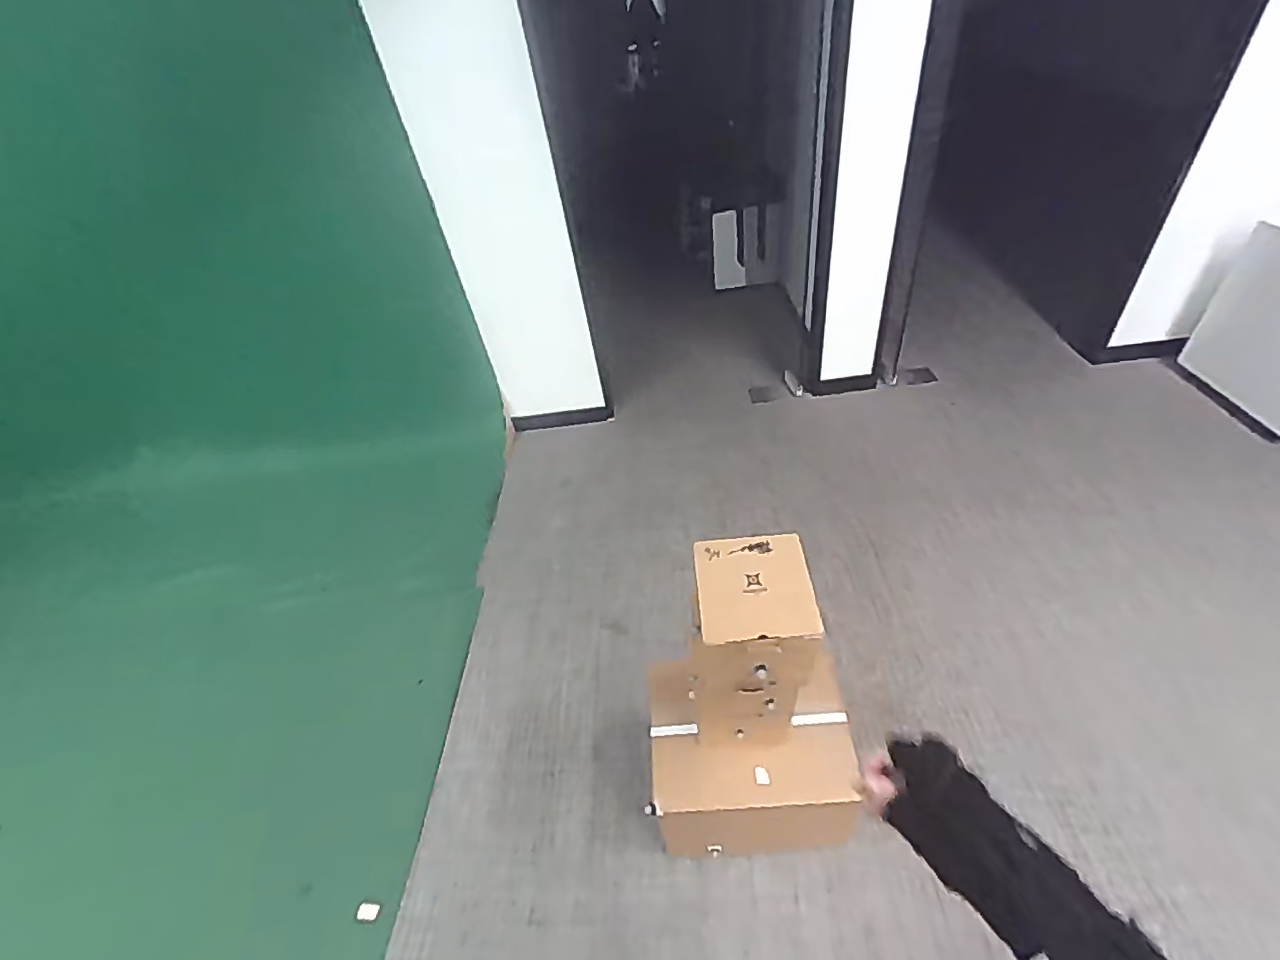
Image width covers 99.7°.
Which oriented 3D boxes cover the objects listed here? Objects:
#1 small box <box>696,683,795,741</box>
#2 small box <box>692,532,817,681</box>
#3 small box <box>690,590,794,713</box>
[{"bbox_3d":[0.205,0.419,1.103,0.179,0.176,0.168,-7,48,4],"label":"small box"},{"bbox_3d":[0.174,0.207,0.858,0.168,0.176,0.179,-6,48,5],"label":"small box"},{"bbox_3d":[0.182,0.311,0.984,0.168,0.176,0.179,-5,47,4],"label":"small box"}]
